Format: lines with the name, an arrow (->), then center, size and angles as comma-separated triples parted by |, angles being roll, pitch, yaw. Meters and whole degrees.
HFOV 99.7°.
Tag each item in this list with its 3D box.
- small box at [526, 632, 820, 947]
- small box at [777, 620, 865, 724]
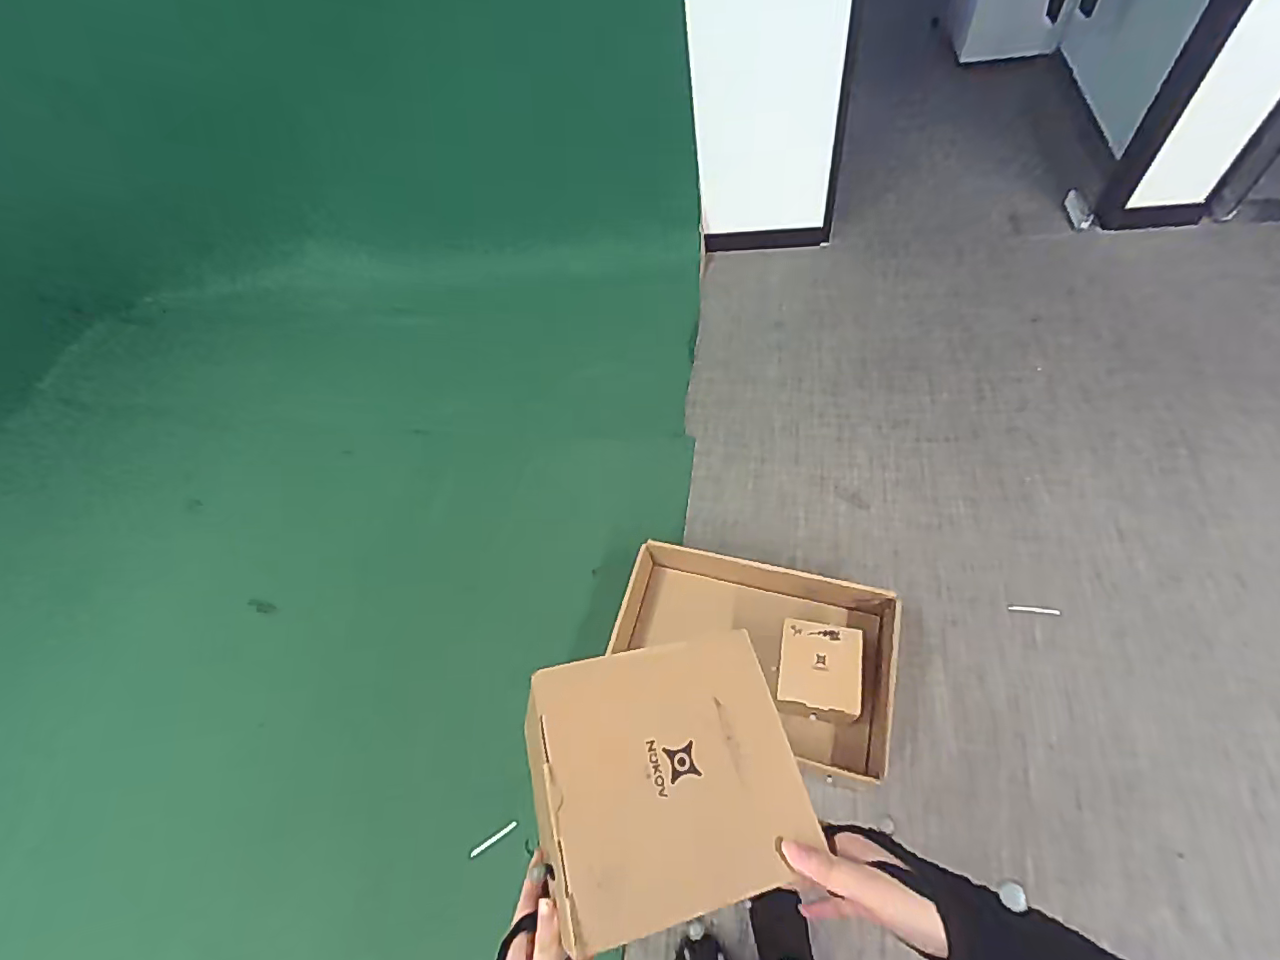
small box -> 0.005, 0.244, 0.439 | 0.179, 0.176, 0.168 | -6, 56, -17
small box -> 0.397, 0.431, 1.200 | 0.168, 0.176, 0.179 | 6, 61, 15
